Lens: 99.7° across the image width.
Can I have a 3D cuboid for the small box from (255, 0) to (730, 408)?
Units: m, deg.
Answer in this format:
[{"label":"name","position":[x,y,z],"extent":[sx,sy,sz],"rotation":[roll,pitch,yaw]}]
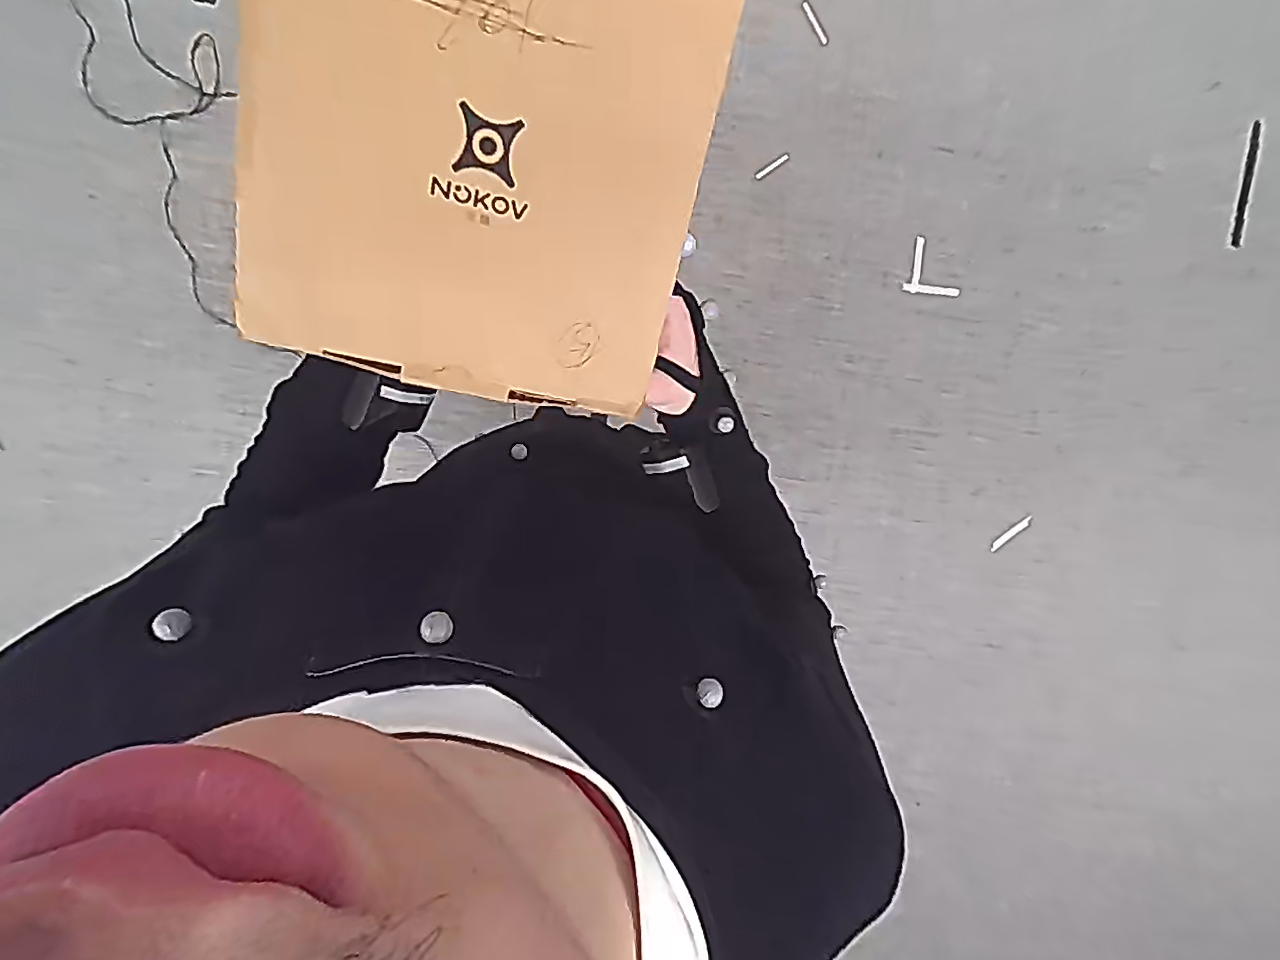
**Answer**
[{"label":"small box","position":[-0.075,-0.153,0.291],"extent":[0.168,0.176,0.179],"rotation":[9,107,-15]}]
